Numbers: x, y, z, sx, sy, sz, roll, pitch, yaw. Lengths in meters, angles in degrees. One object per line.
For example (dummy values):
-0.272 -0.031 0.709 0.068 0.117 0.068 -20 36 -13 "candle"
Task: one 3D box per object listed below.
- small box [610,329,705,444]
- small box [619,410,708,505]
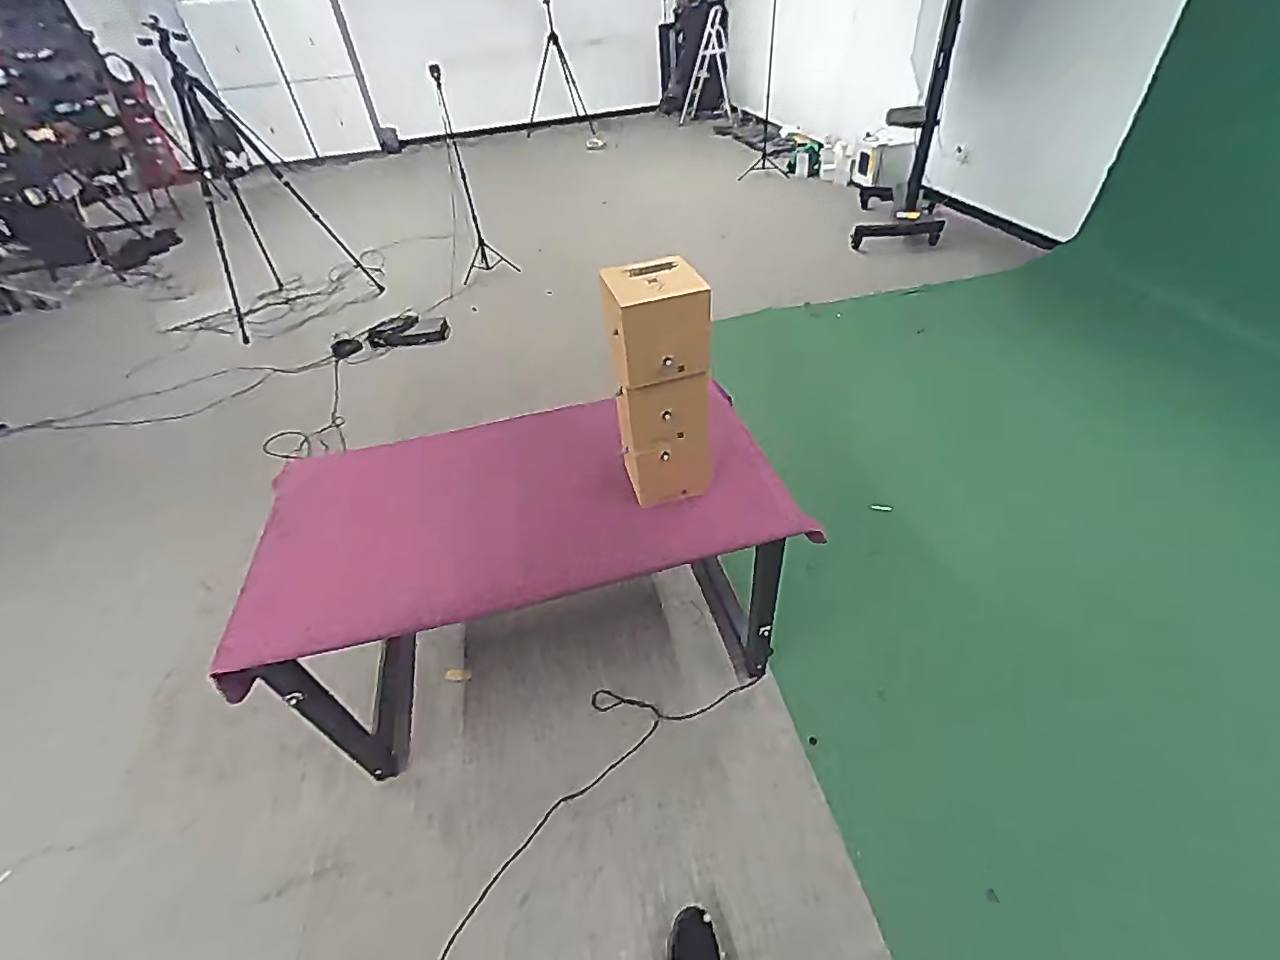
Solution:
0.039 -0.193 1.148 0.168 0.176 0.179 -12 42 -6 "small box"
0.054 -0.070 1.258 0.168 0.176 0.179 -14 42 -7 "small box"
